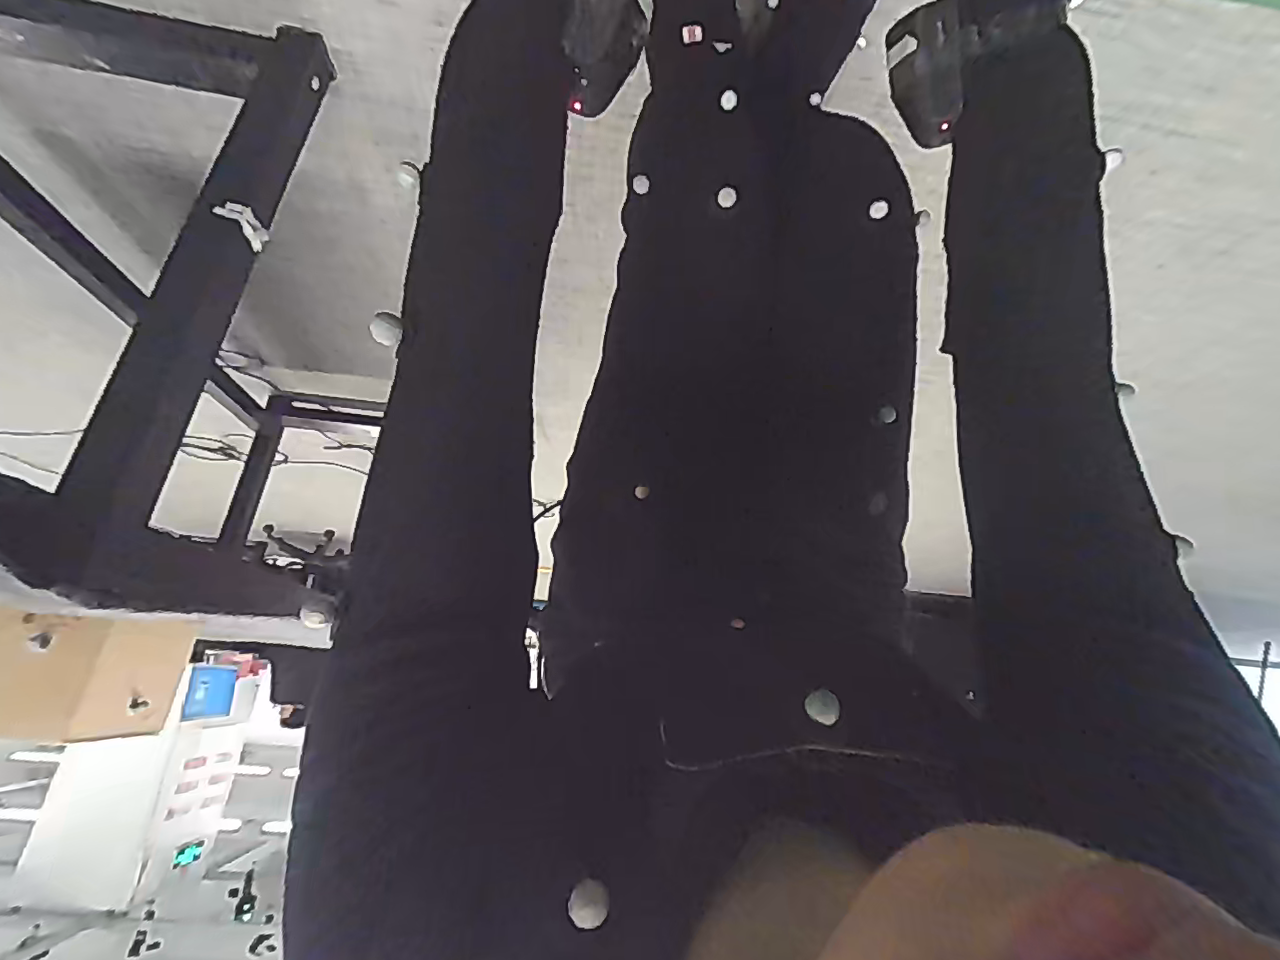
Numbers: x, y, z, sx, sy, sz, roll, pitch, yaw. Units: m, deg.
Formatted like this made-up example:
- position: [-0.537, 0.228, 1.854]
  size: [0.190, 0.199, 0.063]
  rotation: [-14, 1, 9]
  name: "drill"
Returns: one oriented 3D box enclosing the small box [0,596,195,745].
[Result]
- position: [-0.791, 0.268, 0.766]
  size: [0.168, 0.176, 0.179]
  rotation: [6, 158, -4]
  name: "small box"
